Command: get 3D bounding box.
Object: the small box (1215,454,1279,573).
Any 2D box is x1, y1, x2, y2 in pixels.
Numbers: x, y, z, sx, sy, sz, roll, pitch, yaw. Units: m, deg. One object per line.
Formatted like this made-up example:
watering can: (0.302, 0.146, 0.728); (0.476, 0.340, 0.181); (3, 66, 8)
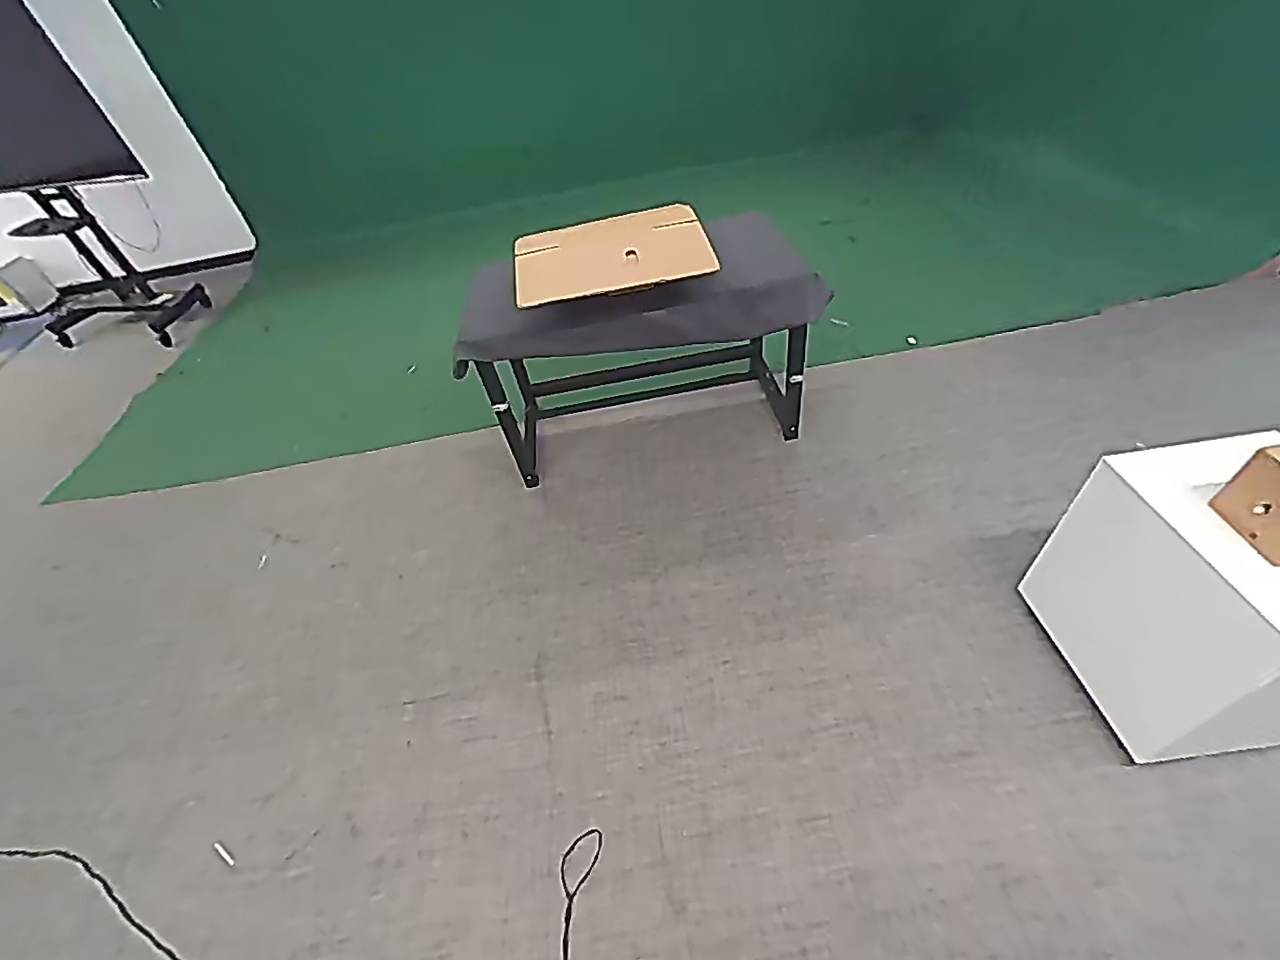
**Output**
small box: (1.268, 0.059, 1.025); (0.179, 0.176, 0.168); (-8, 44, 1)
